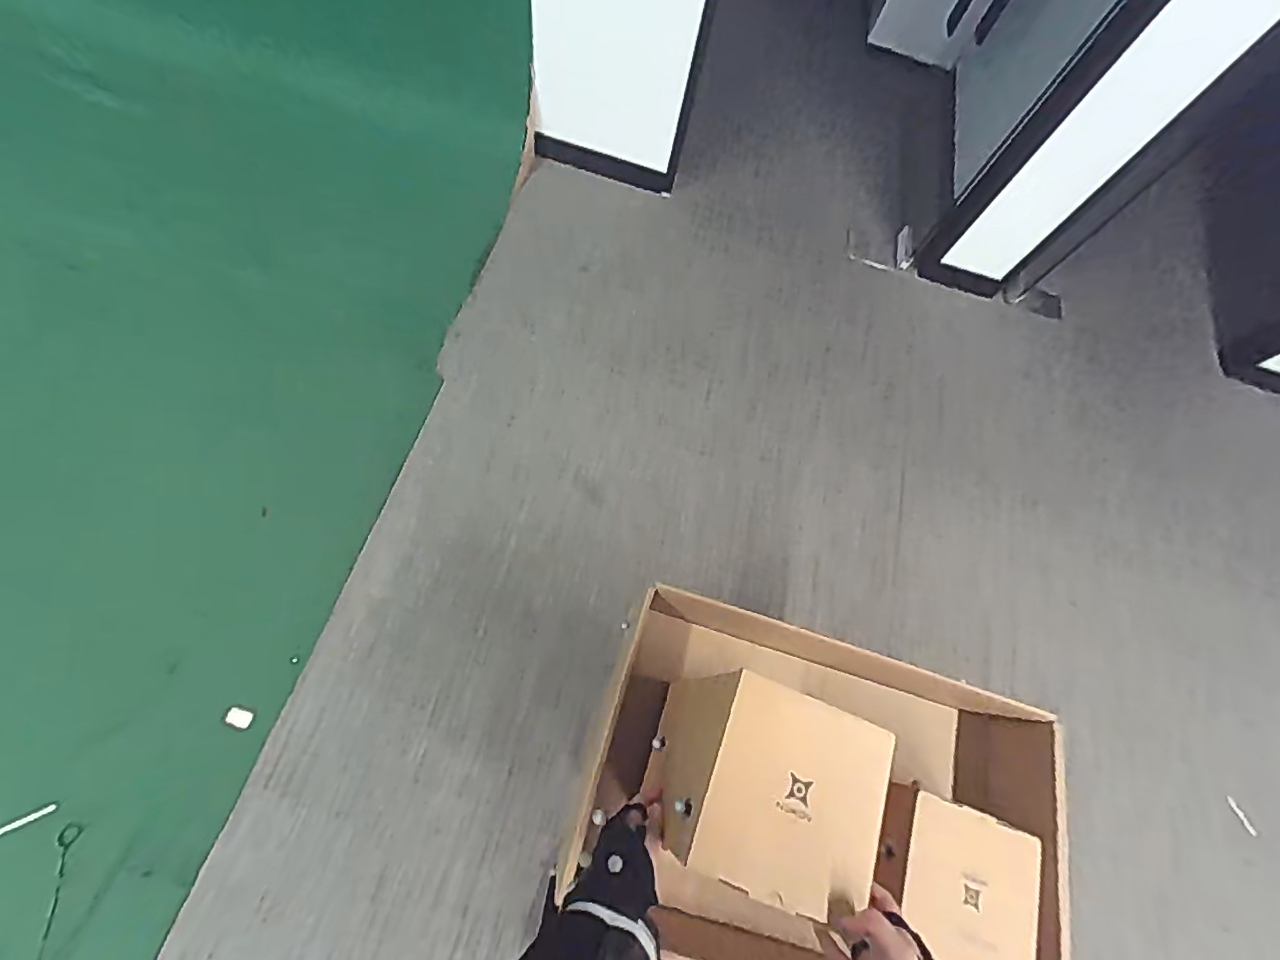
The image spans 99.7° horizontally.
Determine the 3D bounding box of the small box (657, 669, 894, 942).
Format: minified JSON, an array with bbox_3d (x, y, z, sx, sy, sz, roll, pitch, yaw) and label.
[{"bbox_3d":[0.129,0.316,0.563,0.168,0.176,0.179,23,66,0],"label":"small box"}]
